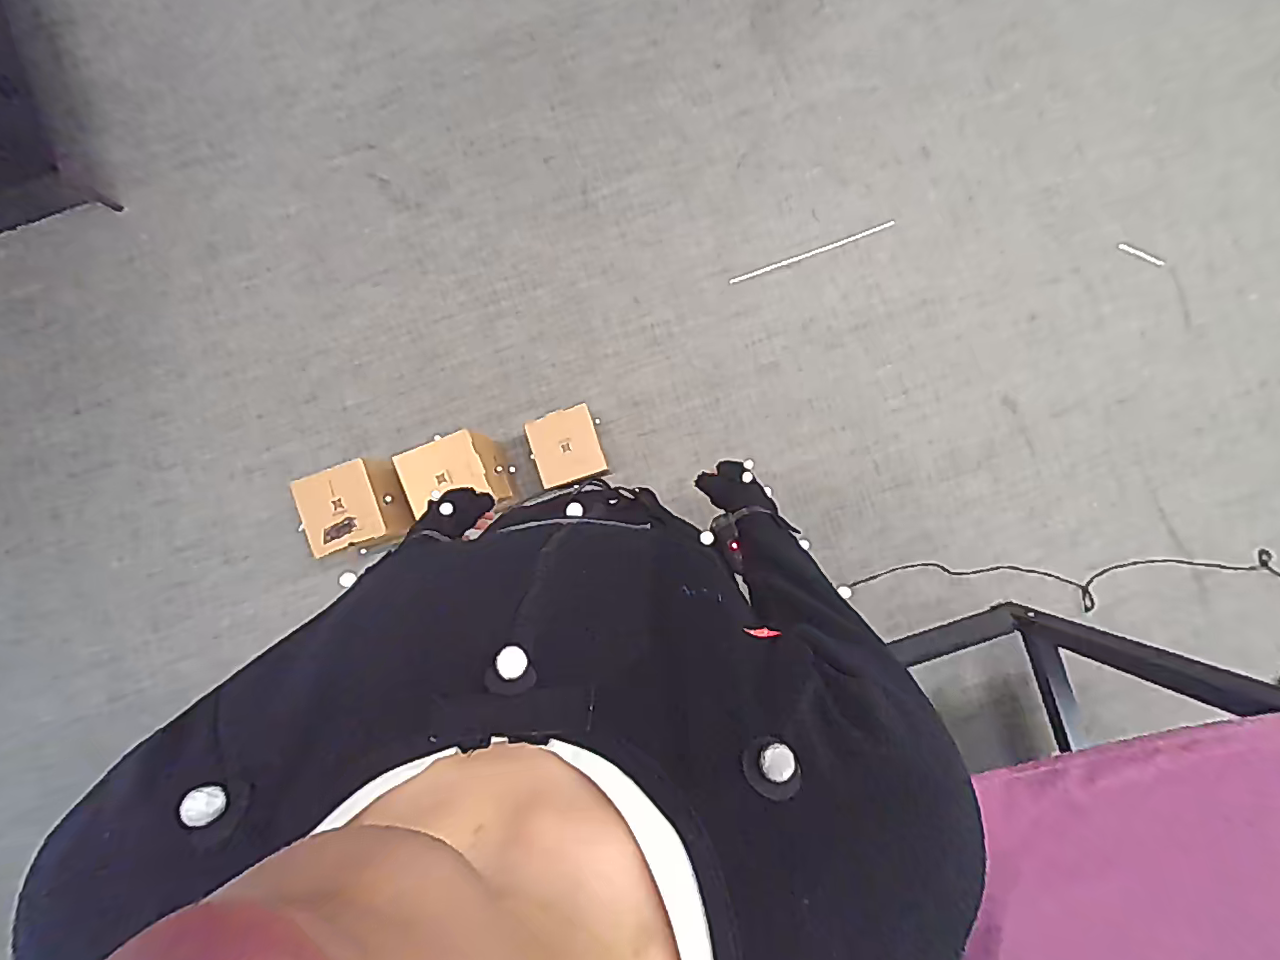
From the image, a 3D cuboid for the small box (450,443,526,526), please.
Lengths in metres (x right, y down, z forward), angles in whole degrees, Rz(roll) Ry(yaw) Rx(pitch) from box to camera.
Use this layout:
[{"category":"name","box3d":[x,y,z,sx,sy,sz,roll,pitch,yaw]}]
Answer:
[{"category":"small box","box3d":[-0.414,0.009,1.399,0.168,0.176,0.179,-21,88,1]}]

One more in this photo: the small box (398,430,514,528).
[{"category":"small box","box3d":[-0.411,0.000,1.237,0.179,0.176,0.168,-22,90,-1]}]

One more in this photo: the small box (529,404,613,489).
[{"category":"small box","box3d":[-0.173,-0.080,1.403,0.168,0.176,0.179,-18,89,0]}]
